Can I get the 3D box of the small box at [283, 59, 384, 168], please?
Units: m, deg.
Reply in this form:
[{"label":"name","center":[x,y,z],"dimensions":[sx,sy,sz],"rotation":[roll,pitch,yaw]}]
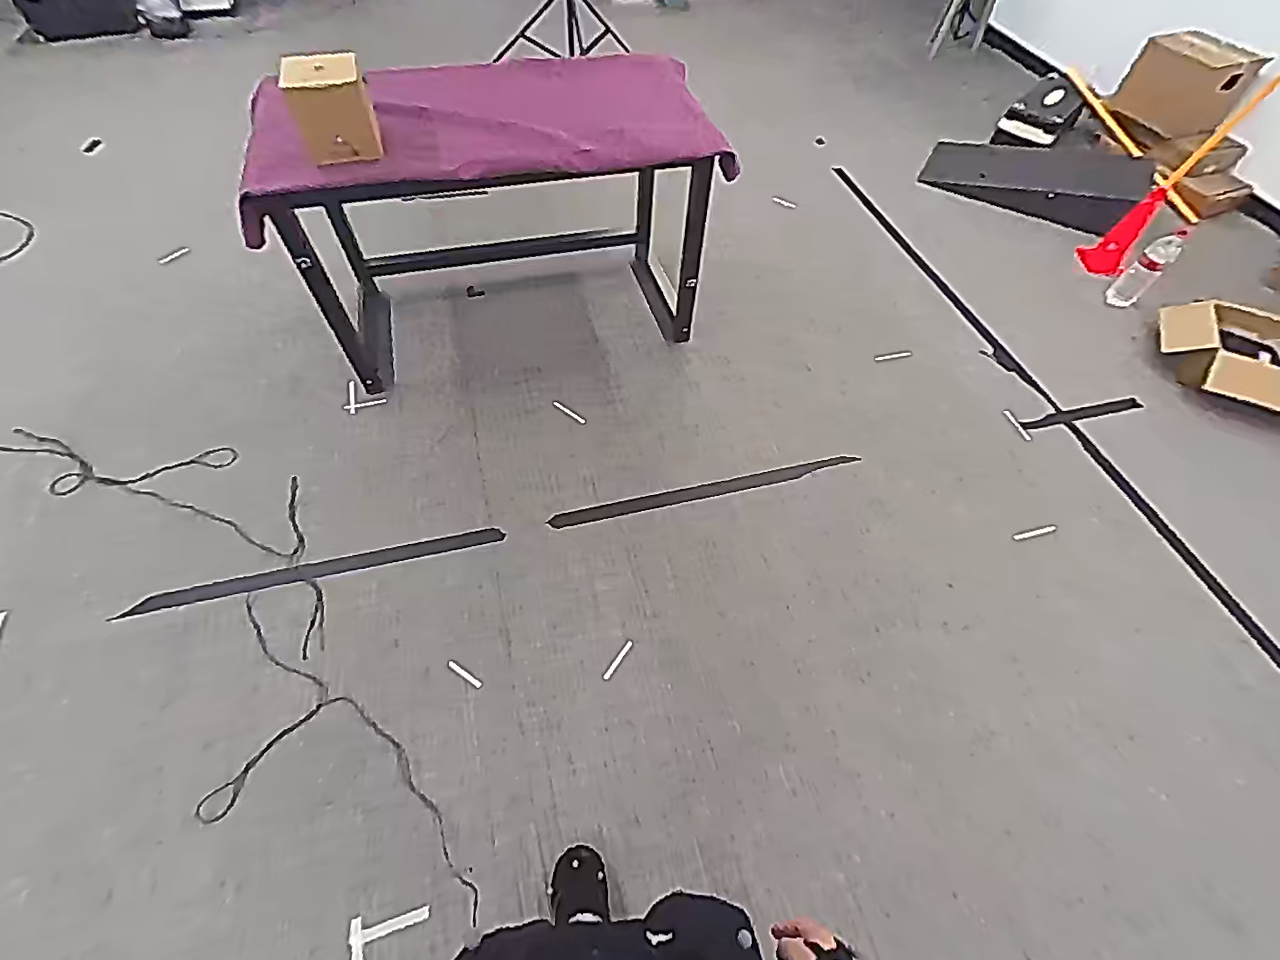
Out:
[{"label":"small box","center":[-0.743,-0.896,1.325],"dimensions":[0.168,0.176,0.179],"rotation":[-14,58,-11]}]
